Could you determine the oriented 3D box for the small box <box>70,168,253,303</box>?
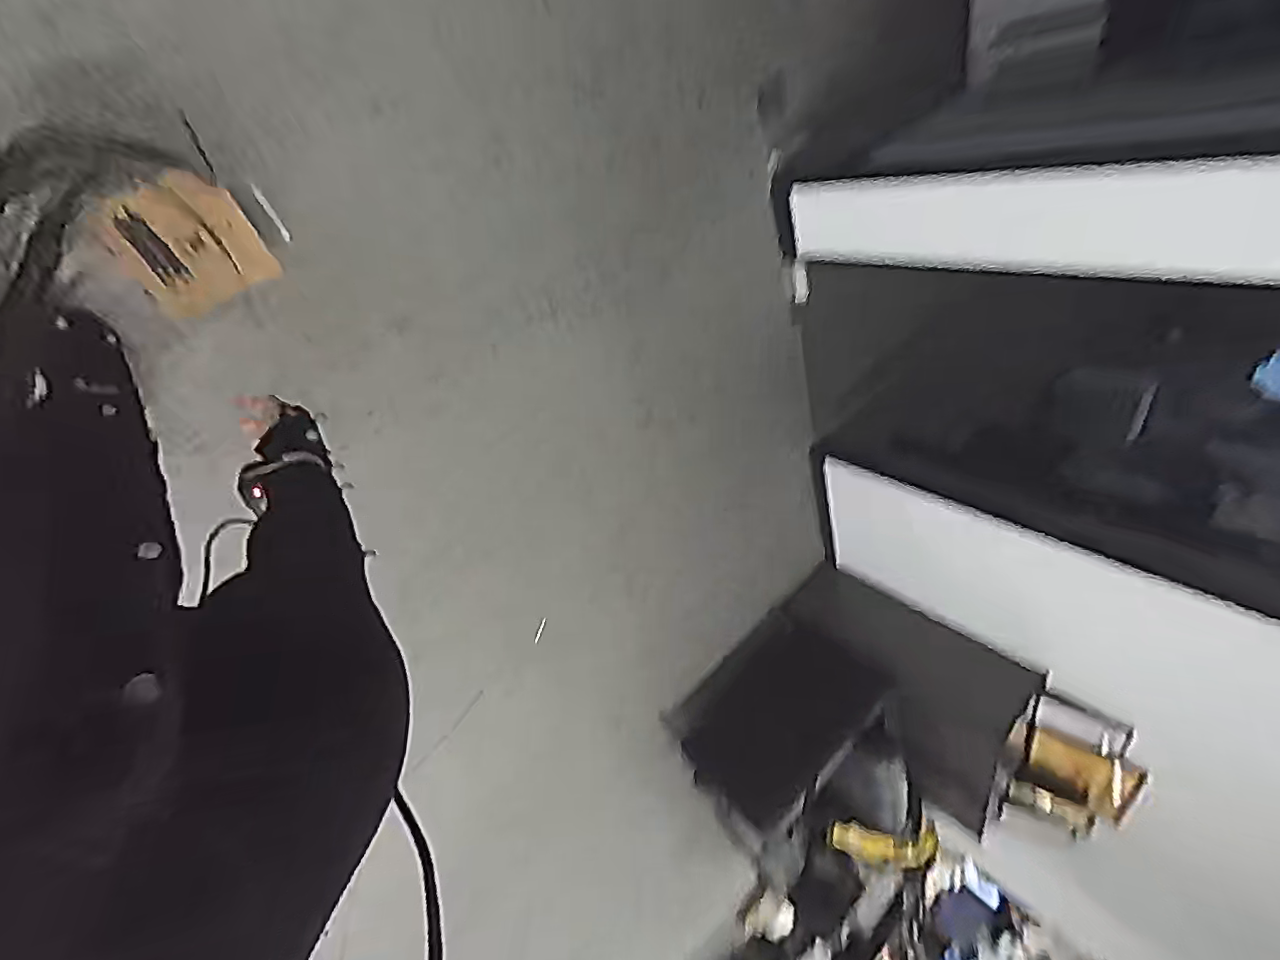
[{"bbox_3d":[-0.835,-0.434,0.955,0.179,0.176,0.168,-37,130,-22],"label":"small box"}]
